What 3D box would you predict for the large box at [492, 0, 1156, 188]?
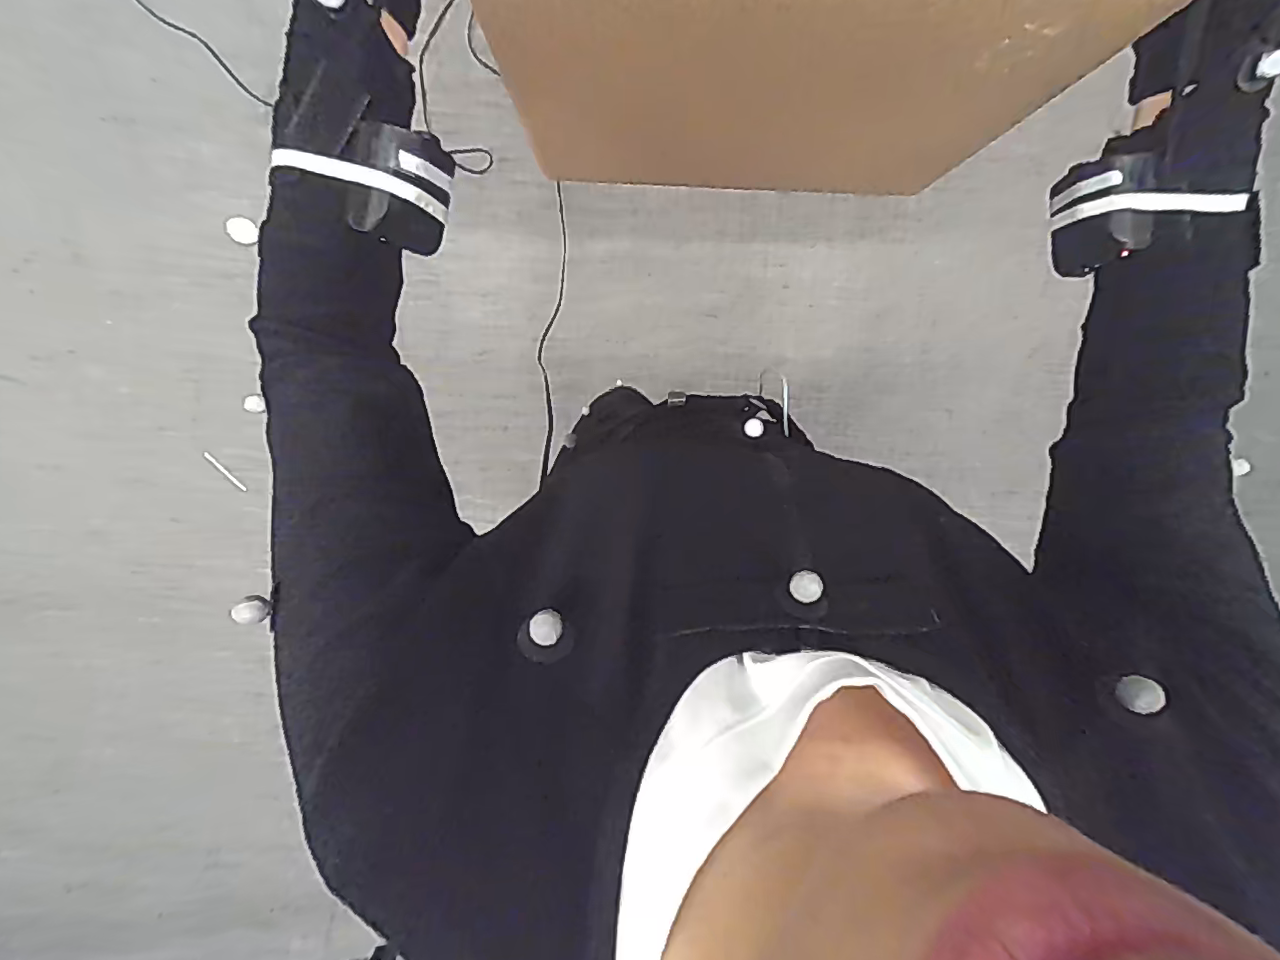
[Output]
[{"bbox_3d":[0.104,-0.446,0.417,0.408,0.320,0.320,1,99,-2],"label":"large box"}]
